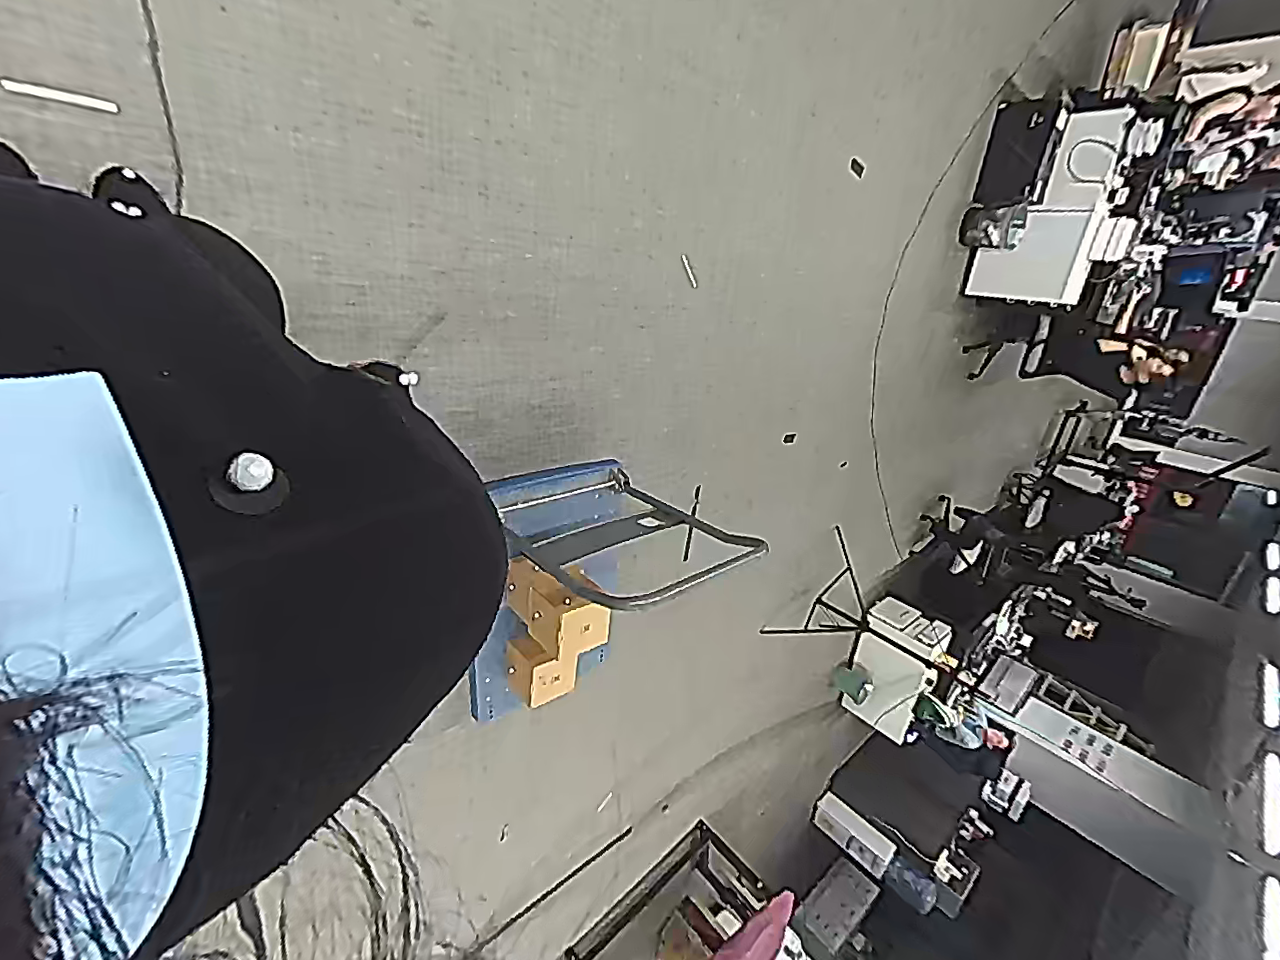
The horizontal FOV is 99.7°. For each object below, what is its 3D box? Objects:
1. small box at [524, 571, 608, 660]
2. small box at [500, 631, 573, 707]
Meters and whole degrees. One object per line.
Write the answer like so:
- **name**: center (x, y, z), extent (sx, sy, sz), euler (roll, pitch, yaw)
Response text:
- **small box**: center (-0.220, 0.389, 1.590), extent (0.179, 0.176, 0.168), euler (-11, 118, -40)
- **small box**: center (-0.349, 0.616, 1.819), extent (0.179, 0.176, 0.168), euler (-10, 116, -42)
